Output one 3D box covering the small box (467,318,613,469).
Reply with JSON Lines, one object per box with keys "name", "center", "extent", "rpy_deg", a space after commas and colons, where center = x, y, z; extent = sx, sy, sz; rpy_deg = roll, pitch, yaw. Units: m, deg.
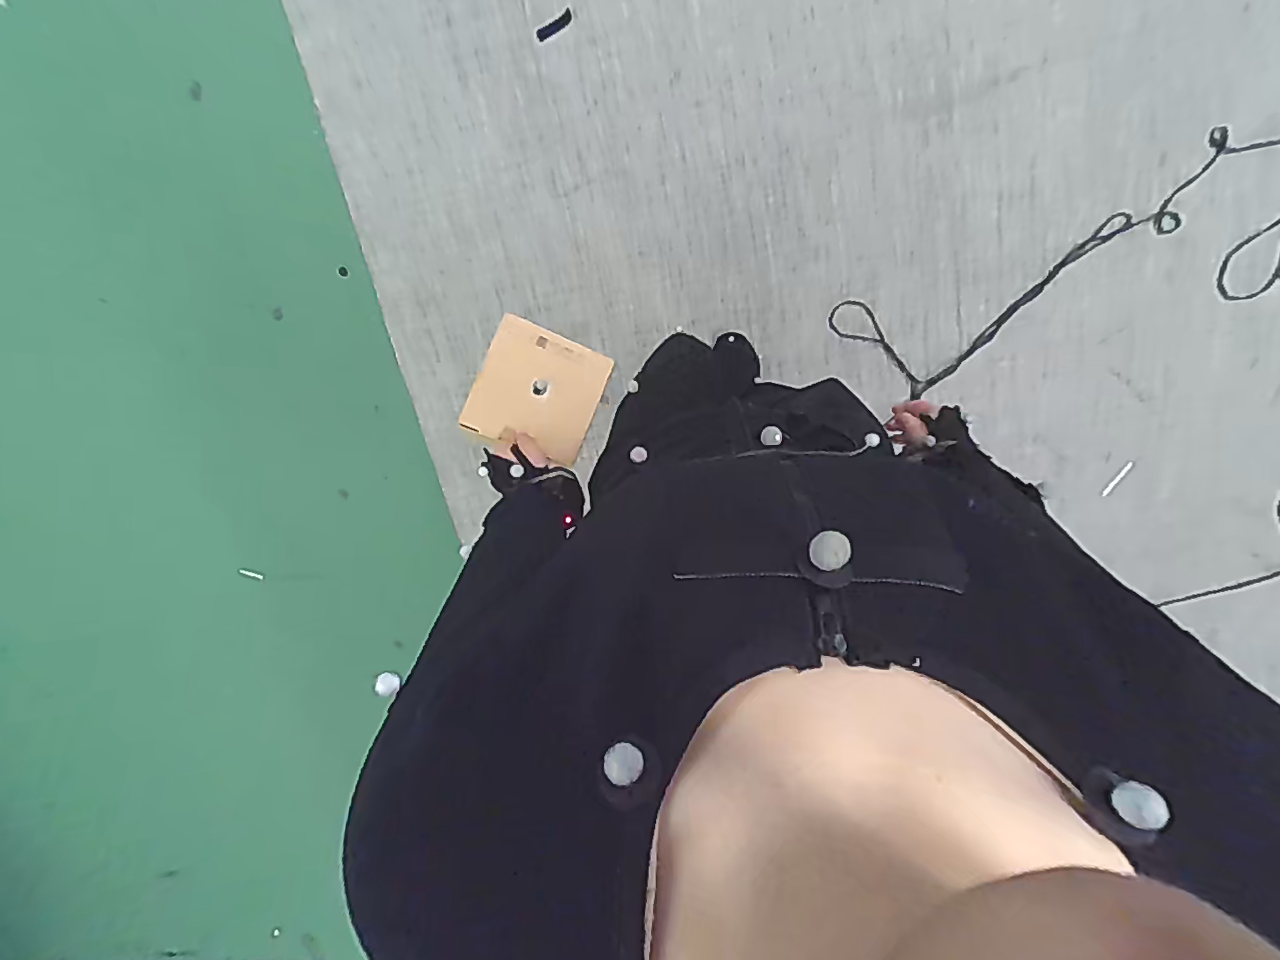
{"name": "small box", "center": [-0.149, -0.124, 0.821], "extent": [0.168, 0.179, 0.176], "rpy_deg": [20, 86, -11]}
